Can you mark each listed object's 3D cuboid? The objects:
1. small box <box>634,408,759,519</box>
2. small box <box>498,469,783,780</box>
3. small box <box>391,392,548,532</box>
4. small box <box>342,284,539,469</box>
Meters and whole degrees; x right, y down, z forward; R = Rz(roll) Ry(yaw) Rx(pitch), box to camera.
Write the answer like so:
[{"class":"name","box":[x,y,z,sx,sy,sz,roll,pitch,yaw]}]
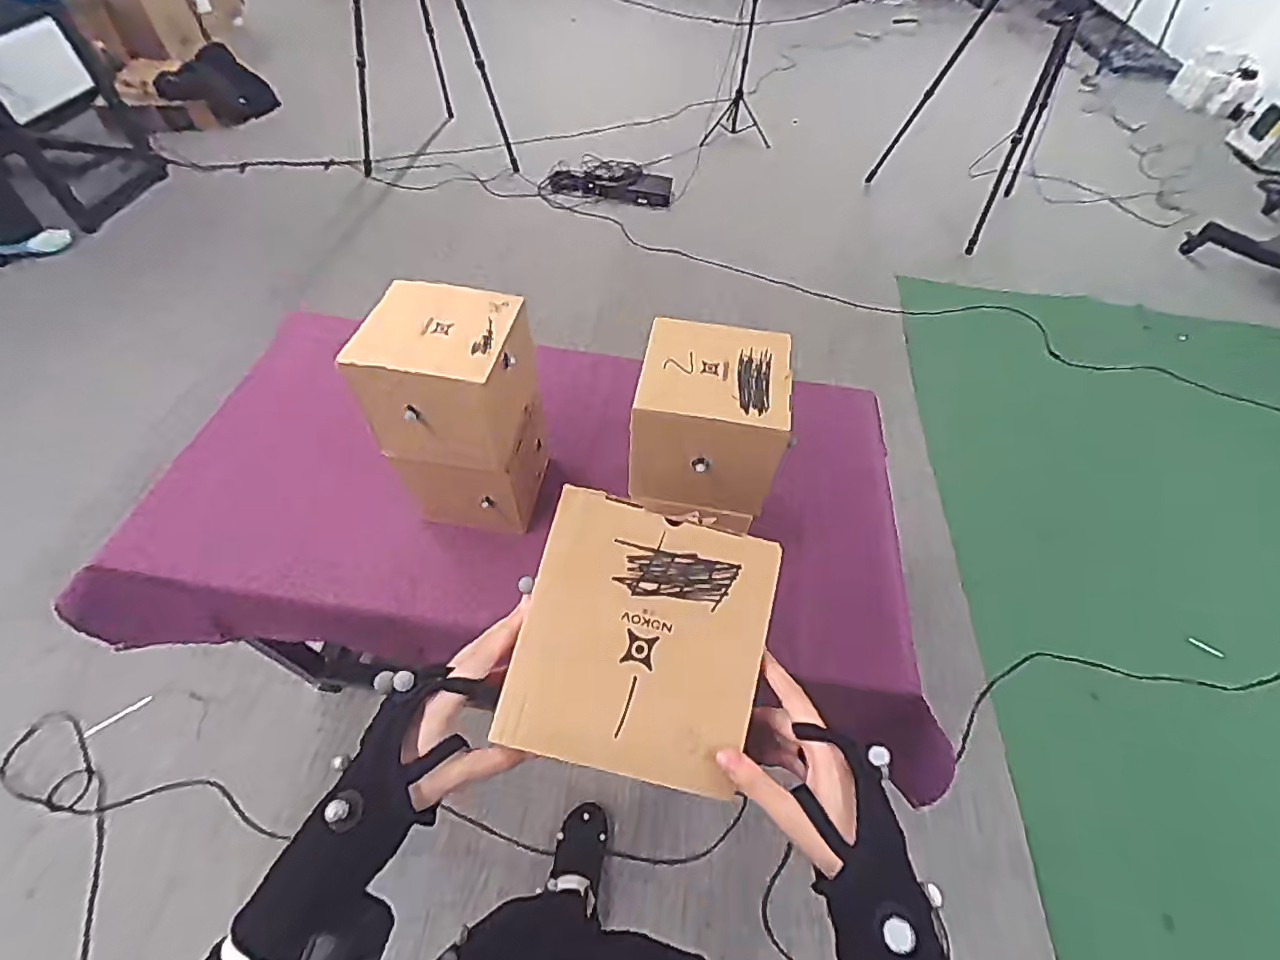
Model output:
[{"class":"small box","box":[0.081,0.018,0.832,0.168,0.176,0.179,10,53,4]},{"class":"small box","box":[-0.004,0.111,0.447,0.168,0.176,0.179,16,77,-3]},{"class":"small box","box":[-0.249,-0.035,0.849,0.179,0.176,0.168,8,52,3]},{"class":"small box","box":[-0.245,-0.133,0.717,0.179,0.176,0.168,9,53,3]}]
